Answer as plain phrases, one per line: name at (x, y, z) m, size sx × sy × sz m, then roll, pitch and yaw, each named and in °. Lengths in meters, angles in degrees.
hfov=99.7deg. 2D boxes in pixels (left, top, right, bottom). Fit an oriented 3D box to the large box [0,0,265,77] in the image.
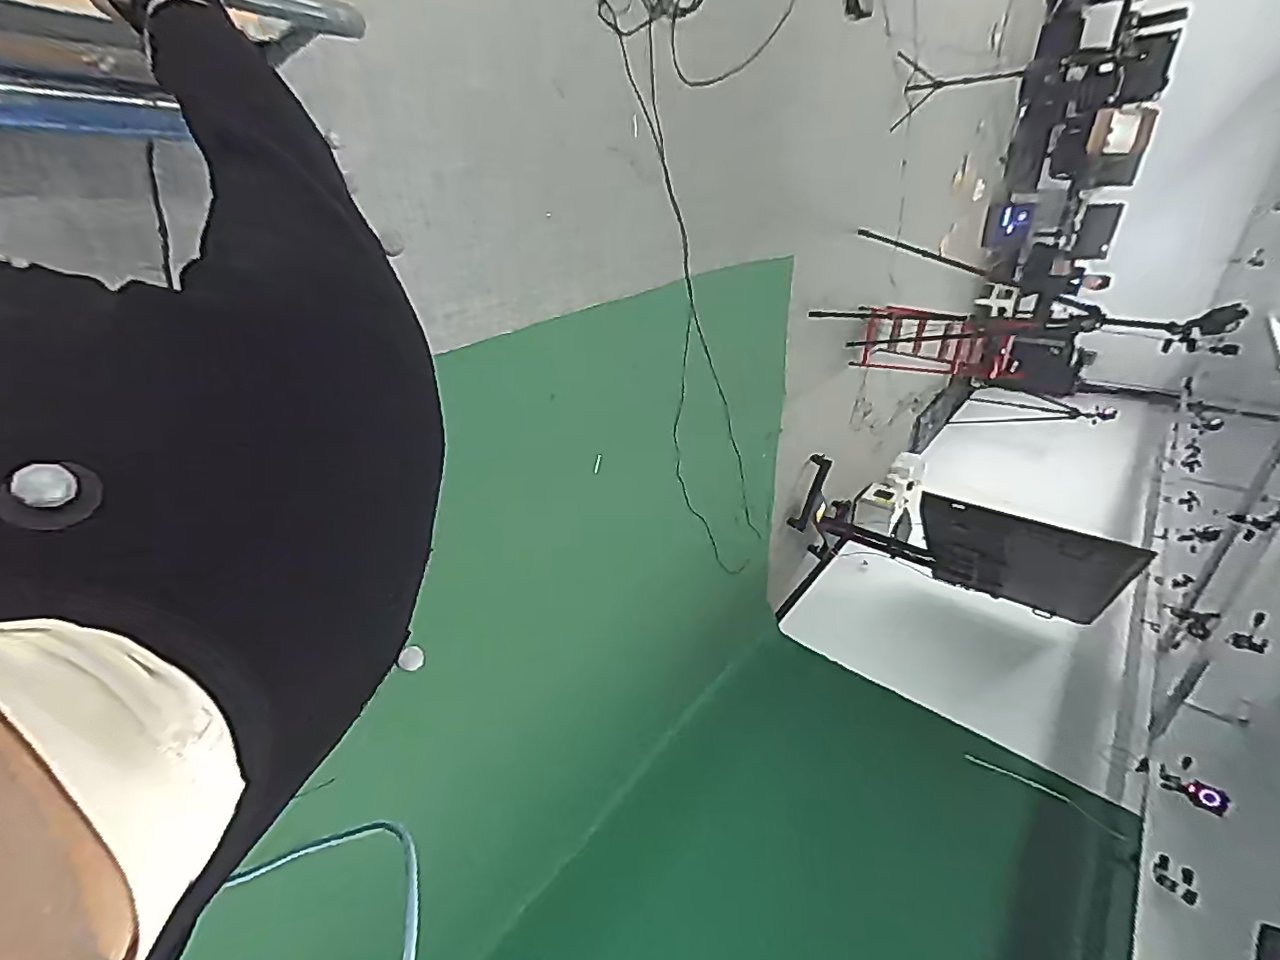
large box at (-0.817, -0.851, 0.765) m, size 0.320 × 0.320 × 0.408 m, roll -29°, pitch 127°, yaw -41°
